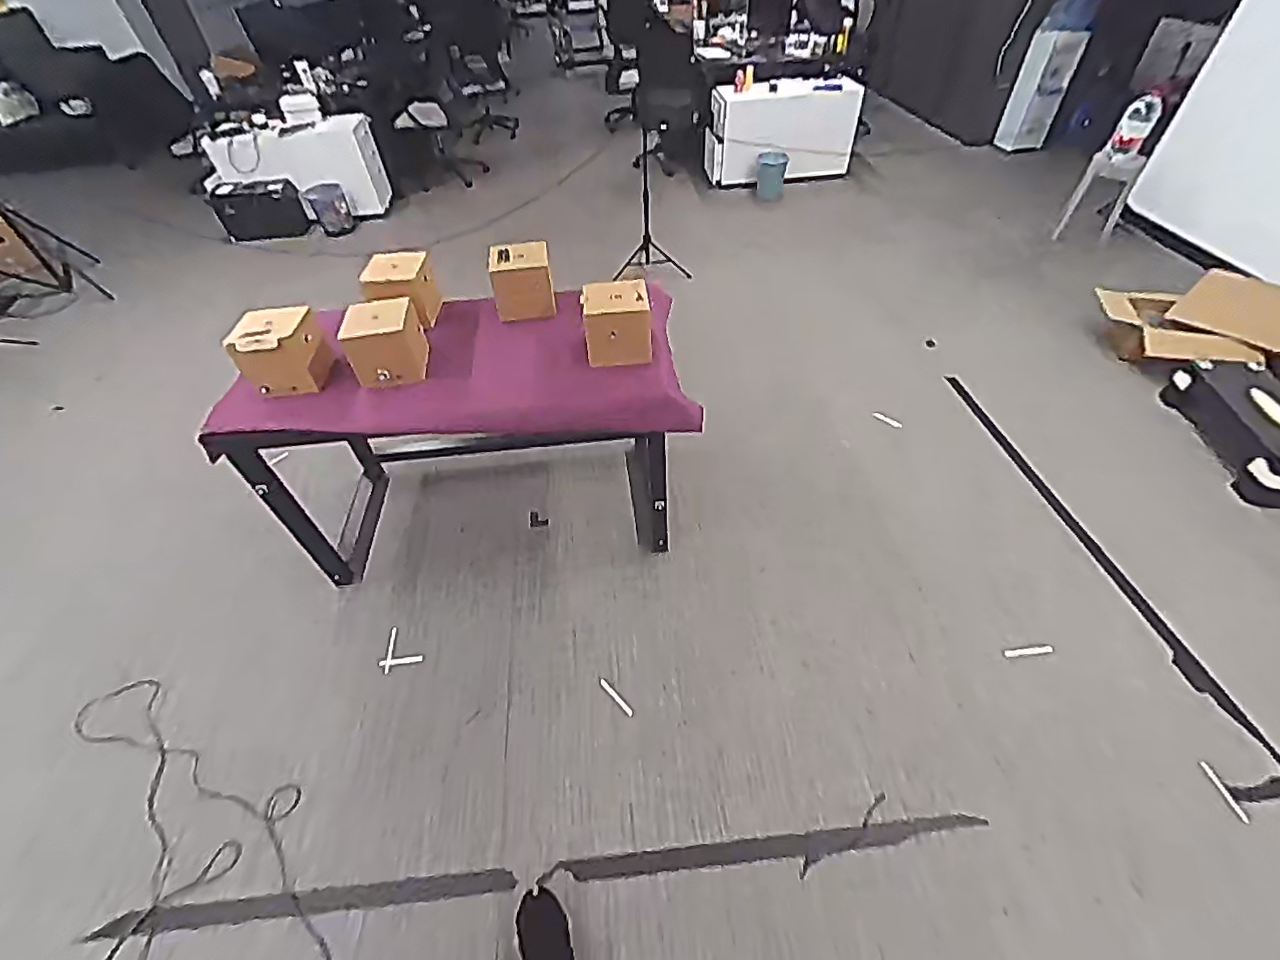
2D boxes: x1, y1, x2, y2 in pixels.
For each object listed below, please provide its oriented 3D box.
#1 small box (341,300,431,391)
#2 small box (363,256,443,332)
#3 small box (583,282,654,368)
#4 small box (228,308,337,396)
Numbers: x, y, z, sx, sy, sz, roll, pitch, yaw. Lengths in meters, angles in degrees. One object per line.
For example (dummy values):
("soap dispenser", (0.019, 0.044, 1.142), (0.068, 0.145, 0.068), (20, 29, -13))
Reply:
("small box", (-0.689, -0.369, 1.487), (0.168, 0.176, 0.179), (-10, 47, -5))
("small box", (-0.725, -0.576, 1.677), (0.168, 0.176, 0.179), (-4, 47, -1))
("small box", (-0.058, -0.425, 1.500), (0.179, 0.176, 0.168), (-6, 47, 0))
("small box", (-0.961, -0.343, 1.475), (0.168, 0.176, 0.179), (-7, 45, -4))
